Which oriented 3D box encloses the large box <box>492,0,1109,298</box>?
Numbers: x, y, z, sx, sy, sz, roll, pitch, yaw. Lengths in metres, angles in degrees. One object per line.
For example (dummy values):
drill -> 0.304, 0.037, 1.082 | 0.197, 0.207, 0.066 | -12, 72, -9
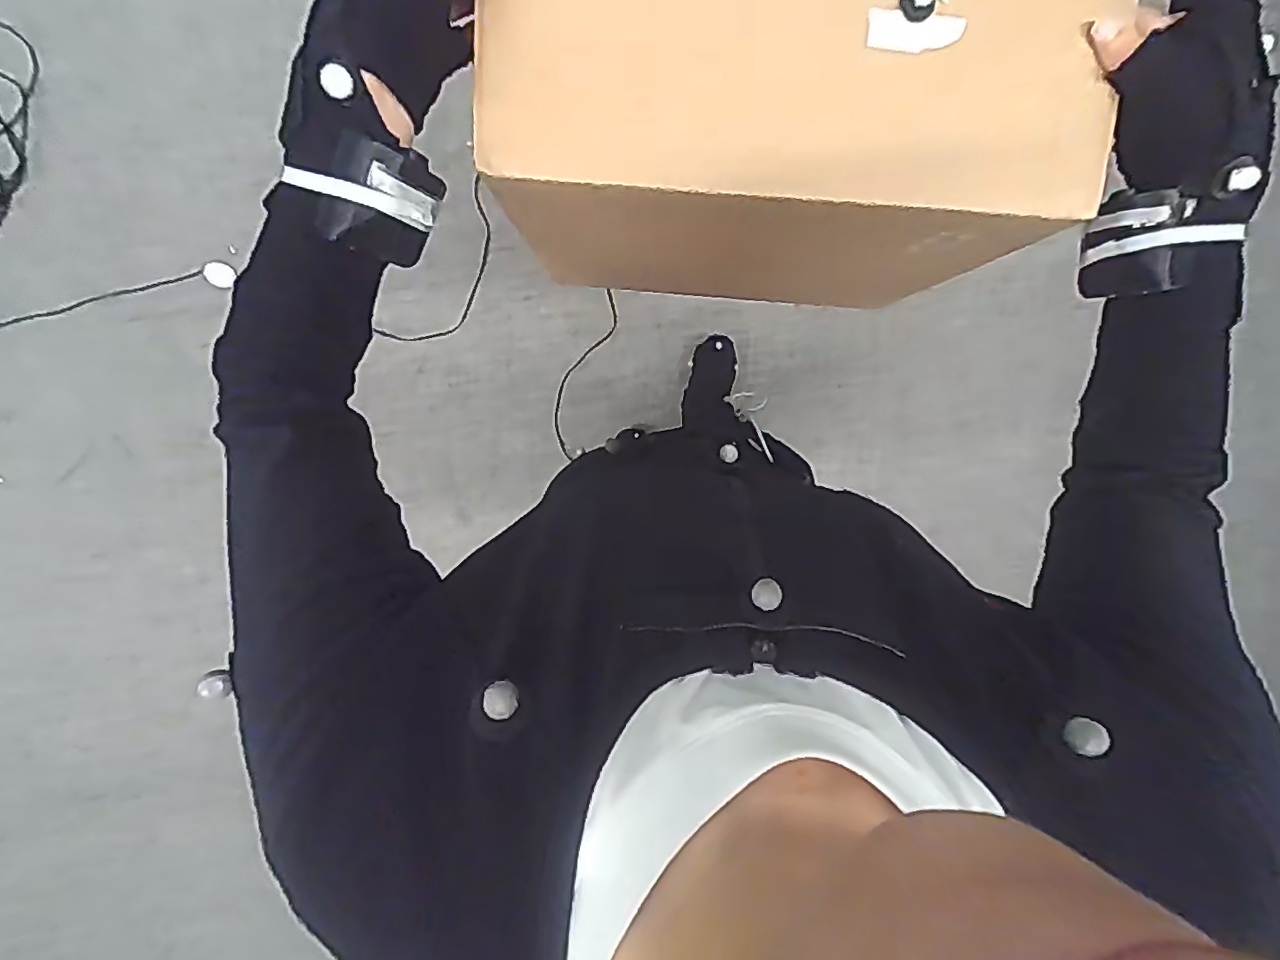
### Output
large box -> 0.103, -0.362, 0.492 | 0.408, 0.320, 0.320 | 3, 98, 0
